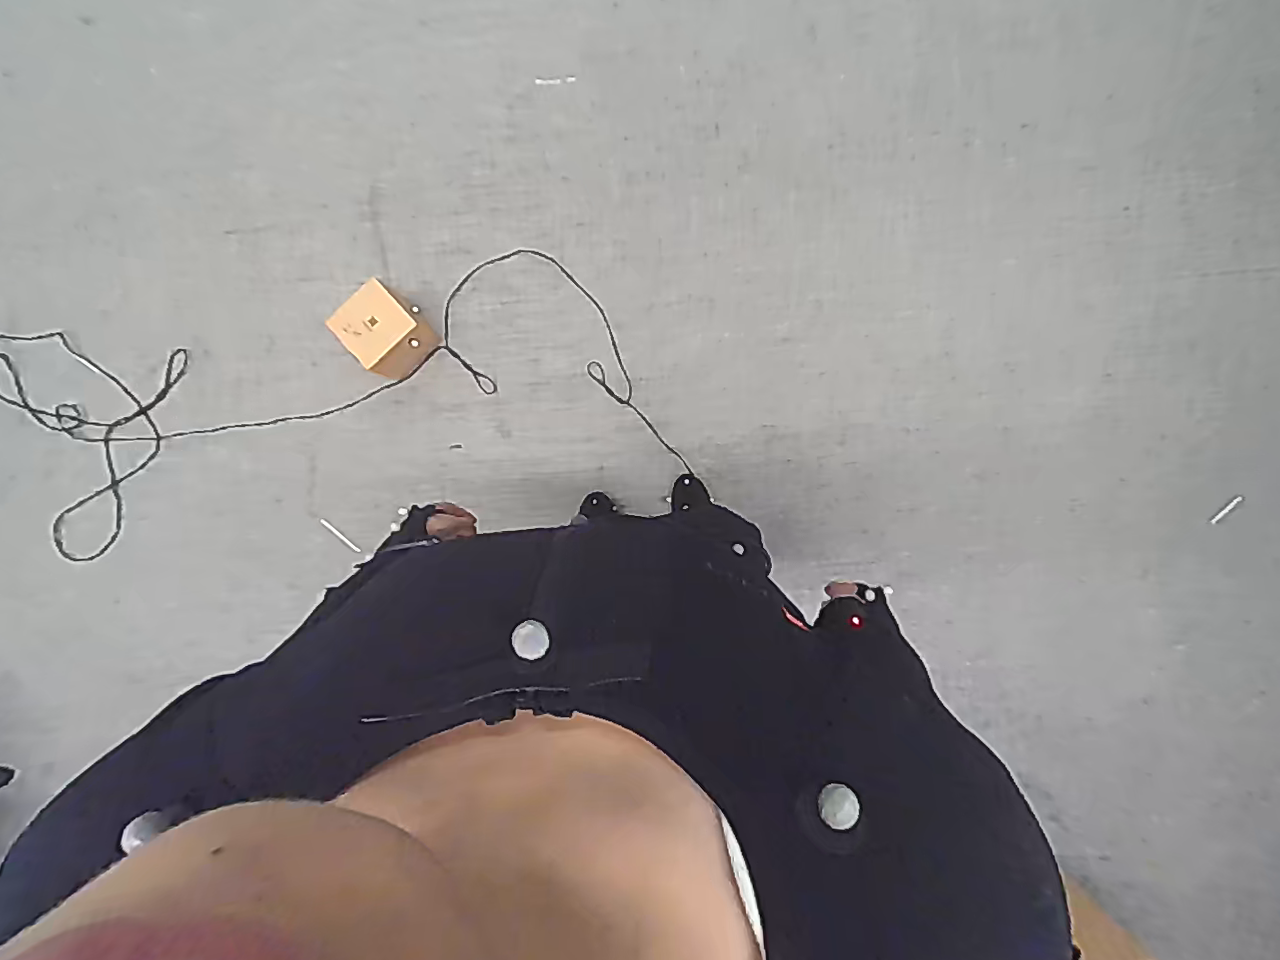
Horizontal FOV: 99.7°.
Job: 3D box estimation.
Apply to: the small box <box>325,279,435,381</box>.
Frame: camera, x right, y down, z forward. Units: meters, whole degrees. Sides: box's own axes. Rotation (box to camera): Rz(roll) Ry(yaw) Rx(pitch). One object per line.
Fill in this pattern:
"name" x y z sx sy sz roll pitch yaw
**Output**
"small box" -0.669 -0.386 1.423 0.179 0.176 0.168 -43 88 2
